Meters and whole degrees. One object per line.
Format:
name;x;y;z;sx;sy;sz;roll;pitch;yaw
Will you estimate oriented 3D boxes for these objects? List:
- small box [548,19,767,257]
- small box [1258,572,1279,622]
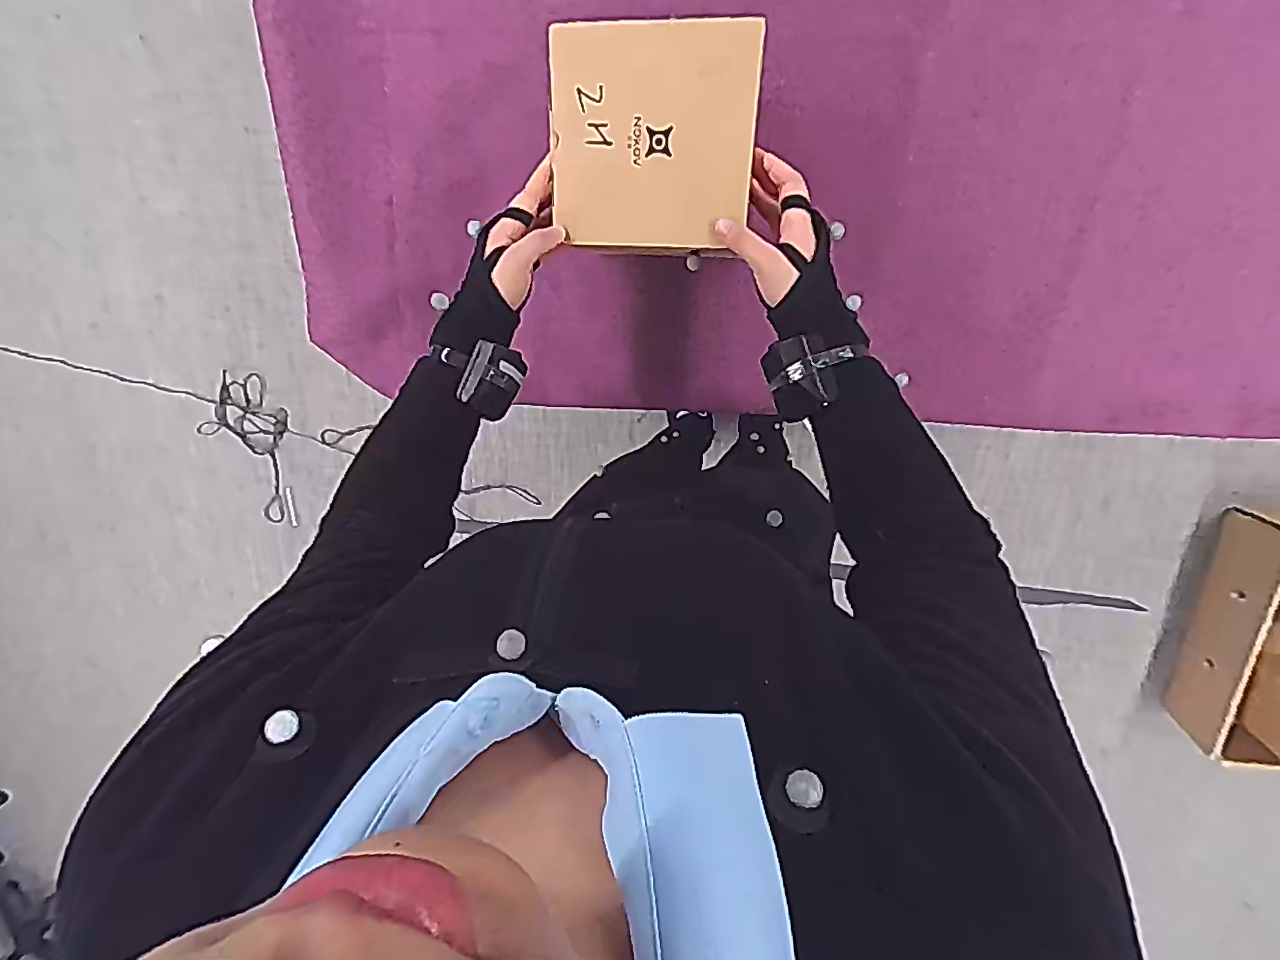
small box;0.021;-0.311;0.524;0.179;0.176;0.168;6;110;9
small box;1.567;0.278;1.191;0.179;0.176;0.168;10;113;6
